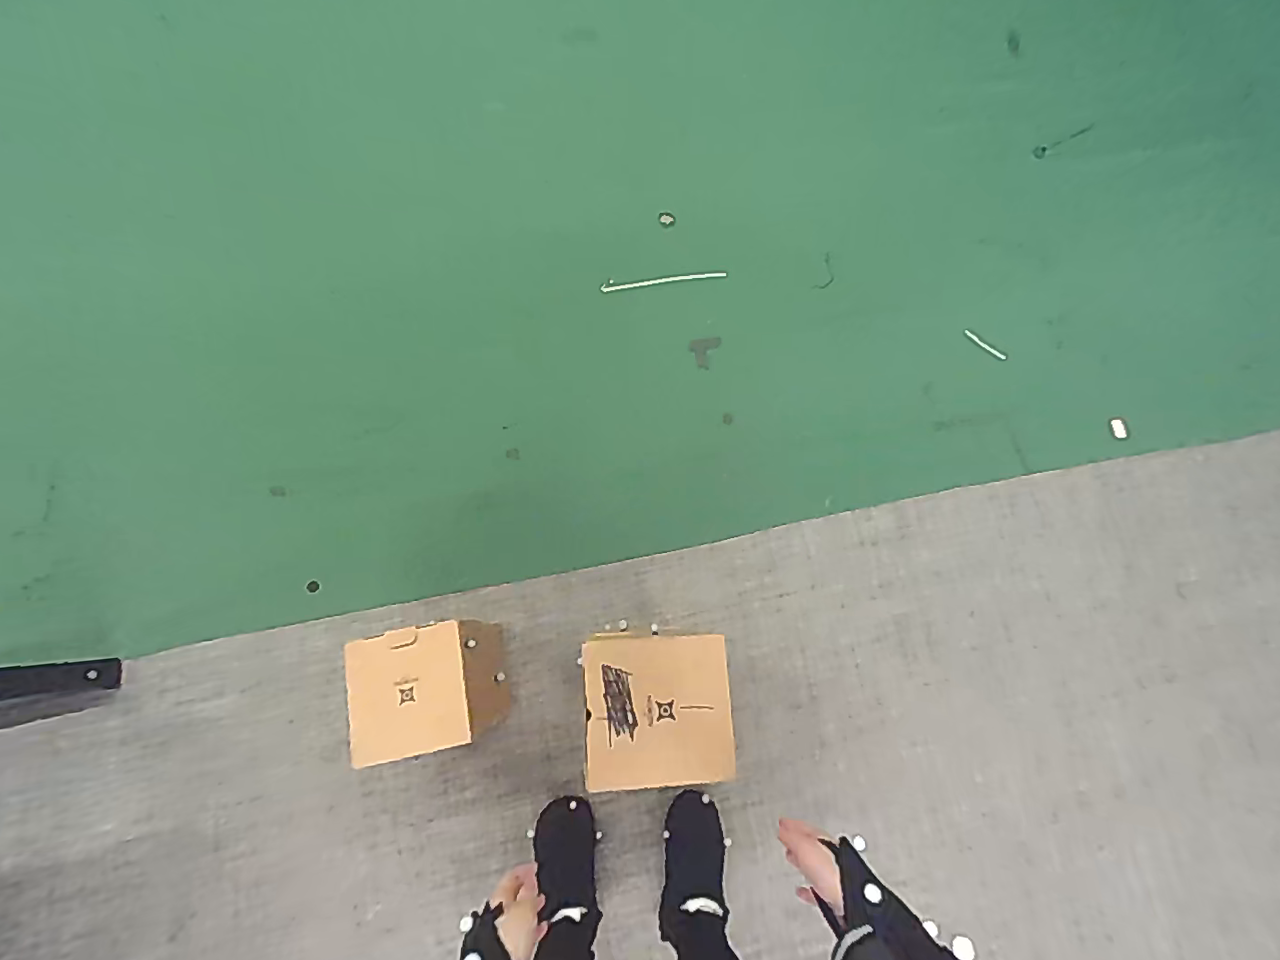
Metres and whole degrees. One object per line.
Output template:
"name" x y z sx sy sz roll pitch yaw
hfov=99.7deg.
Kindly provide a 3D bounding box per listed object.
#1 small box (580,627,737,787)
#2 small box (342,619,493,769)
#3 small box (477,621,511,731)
"small box" 0.016 0.281 0.702 0.179 0.176 0.168 -2 76 -5
"small box" -0.336 0.319 0.842 0.168 0.176 0.179 -11 75 -6
"small box" -0.343 0.367 0.998 0.168 0.176 0.179 -13 78 -7
